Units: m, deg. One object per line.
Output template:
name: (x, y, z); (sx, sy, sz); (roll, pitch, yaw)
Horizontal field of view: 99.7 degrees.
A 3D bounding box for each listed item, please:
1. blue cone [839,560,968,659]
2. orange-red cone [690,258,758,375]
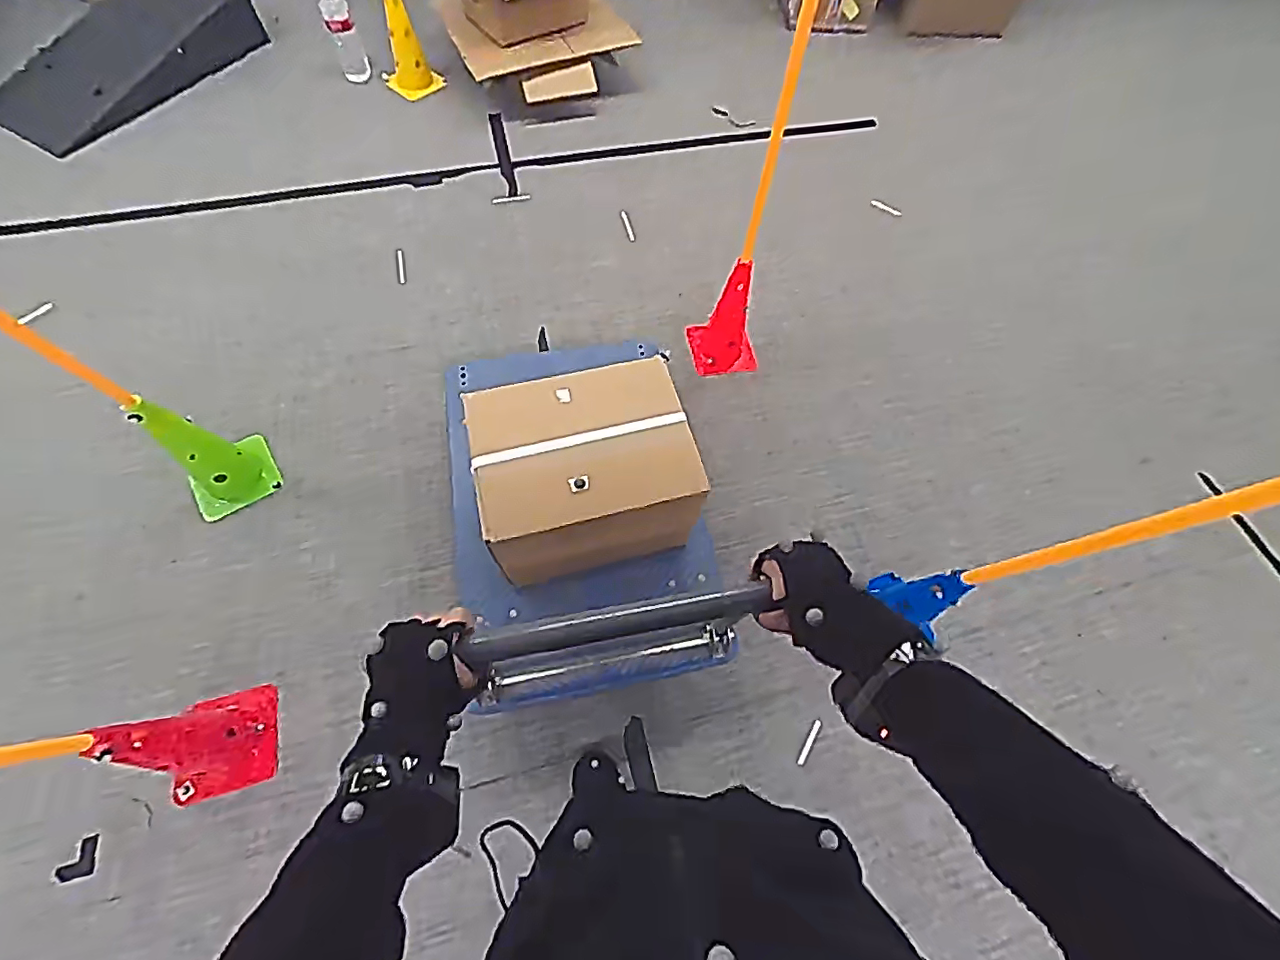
blue cone: (0.632, 0.270, 1.235); (0.193, 0.380, 0.192); (-16, 64, -11)
orange-red cone: (0.277, -0.496, 1.578); (0.199, 0.360, 0.198); (-6, 65, -7)
